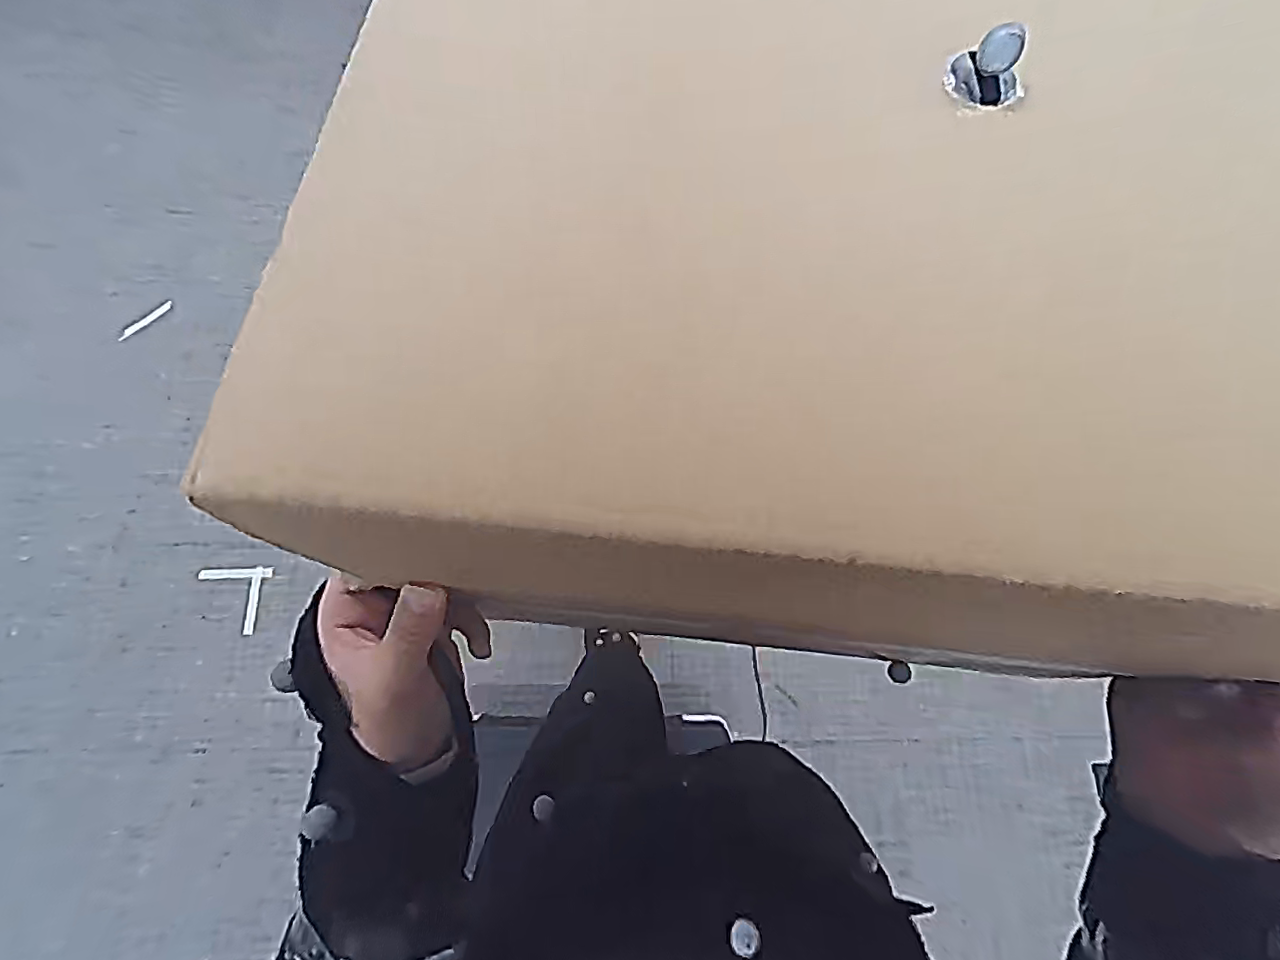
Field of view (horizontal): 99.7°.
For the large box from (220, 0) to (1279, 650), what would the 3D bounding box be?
[{"bbox_3d":[0.097,-0.083,0.320,0.408,0.320,0.320,6,72,-1],"label":"large box"}]
